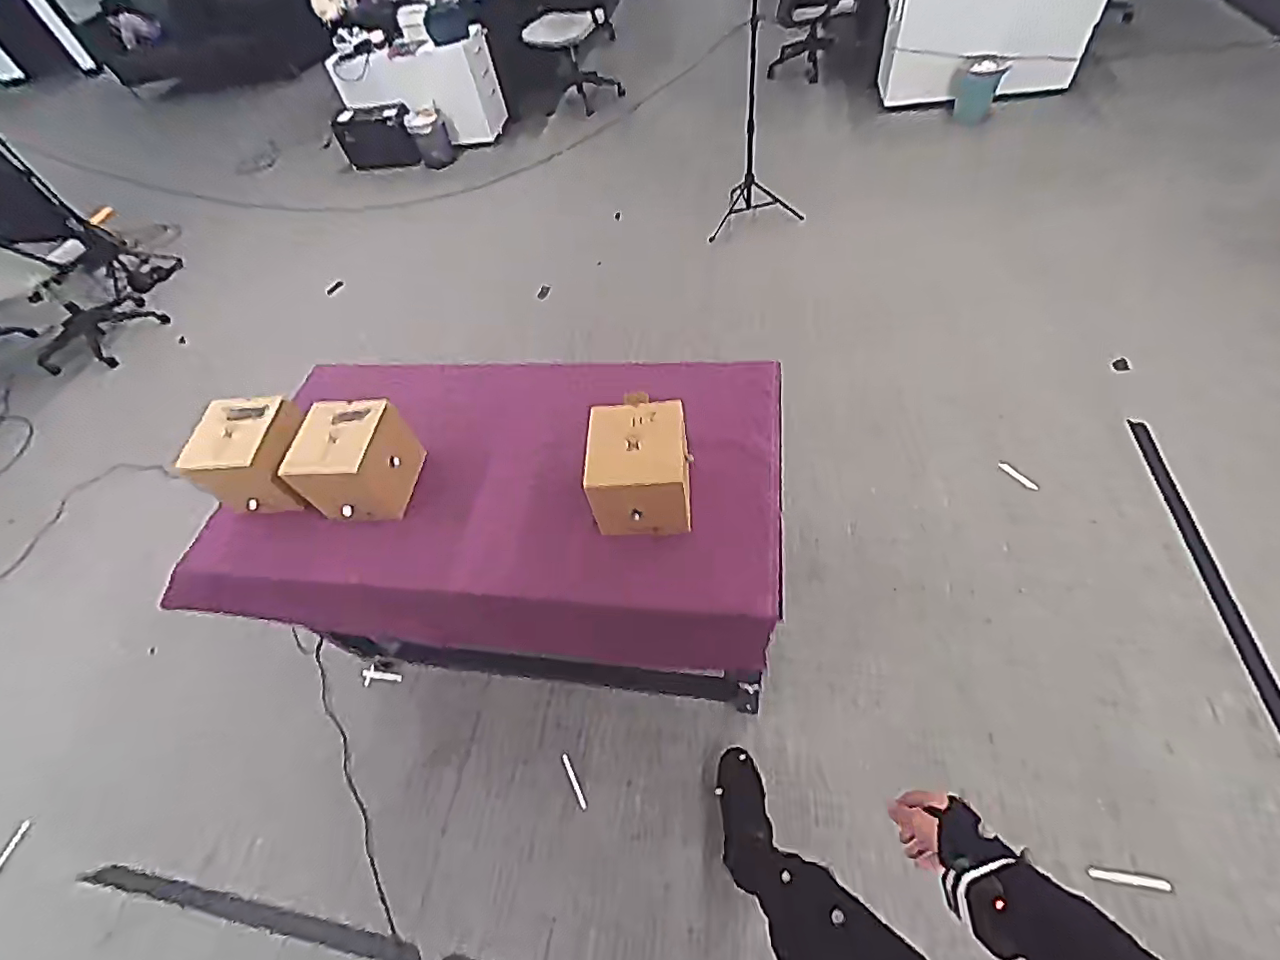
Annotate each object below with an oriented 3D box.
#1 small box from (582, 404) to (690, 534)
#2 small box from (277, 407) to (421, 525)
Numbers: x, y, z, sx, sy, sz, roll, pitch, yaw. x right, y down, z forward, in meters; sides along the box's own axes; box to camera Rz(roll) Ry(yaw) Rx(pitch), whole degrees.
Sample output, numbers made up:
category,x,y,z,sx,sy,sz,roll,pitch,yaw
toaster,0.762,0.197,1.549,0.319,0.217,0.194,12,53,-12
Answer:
category,x,y,z,sx,sy,sz,roll,pitch,yaw
small box,0.002,-0.012,0.972,0.168,0.176,0.179,-4,54,8
small box,-0.568,-0.026,1.088,0.168,0.176,0.179,-2,55,9
